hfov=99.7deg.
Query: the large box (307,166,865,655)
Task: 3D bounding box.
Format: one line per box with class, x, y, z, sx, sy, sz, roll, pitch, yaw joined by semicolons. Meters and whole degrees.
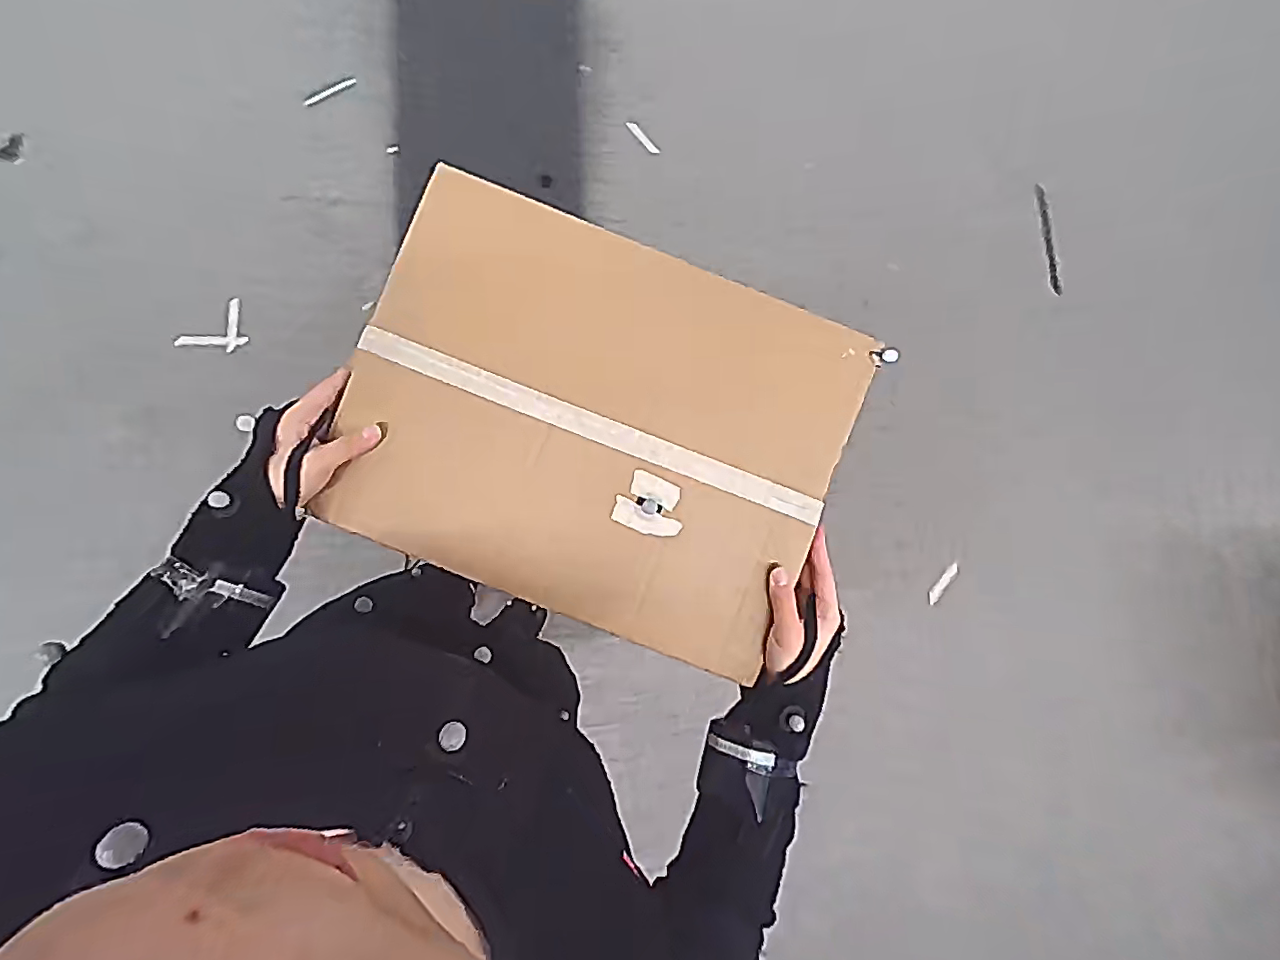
large box;-0.048;-0.057;0.604;0.408;0.320;0.320;20;90;-2
